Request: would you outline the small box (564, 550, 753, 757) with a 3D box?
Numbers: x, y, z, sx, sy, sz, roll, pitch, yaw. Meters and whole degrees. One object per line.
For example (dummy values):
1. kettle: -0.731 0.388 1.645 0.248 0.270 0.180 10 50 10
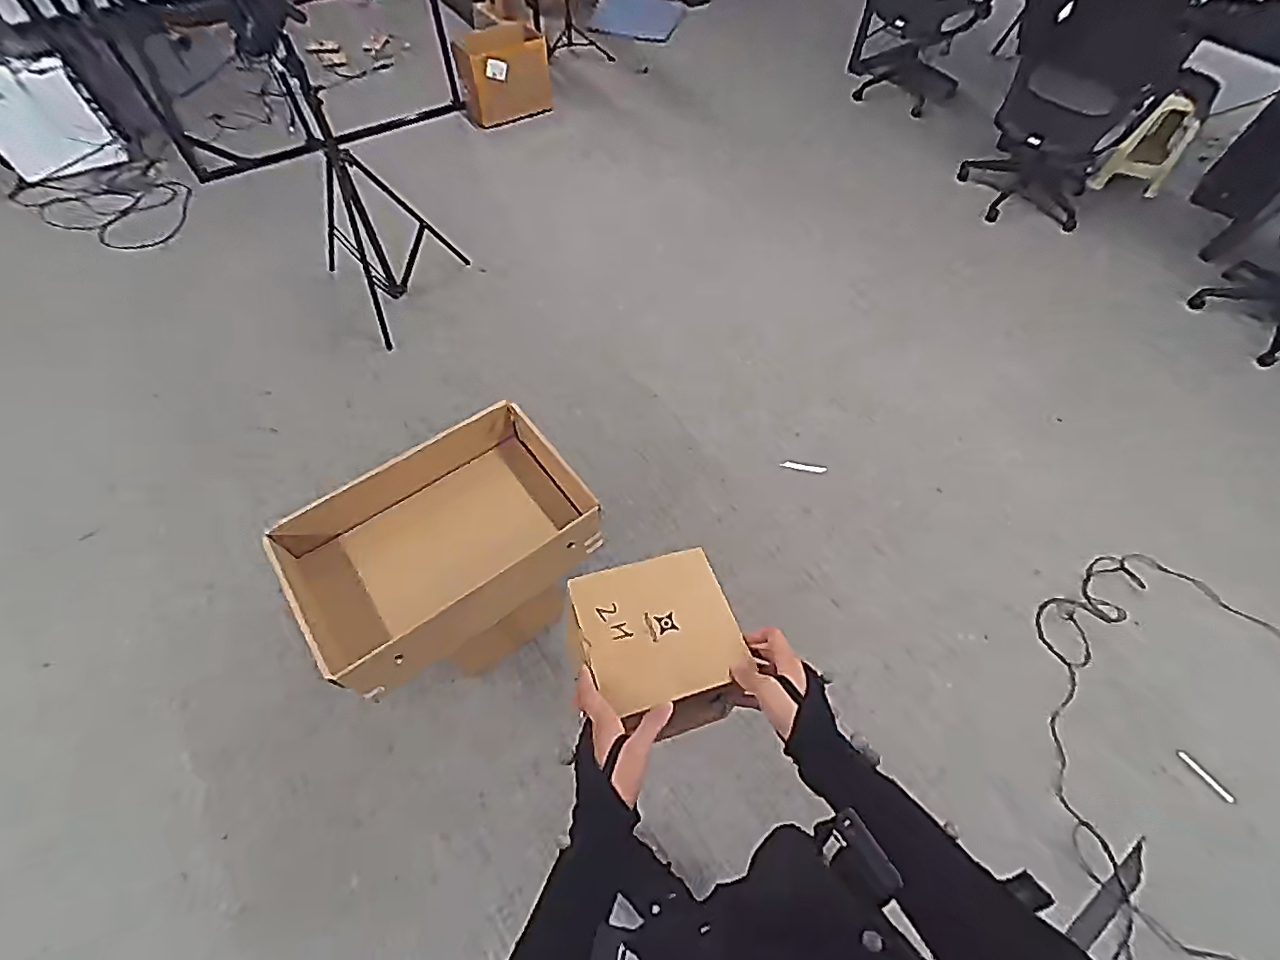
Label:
1. small box: 0.008 0.213 0.662 0.179 0.176 0.168 -12 53 -16
